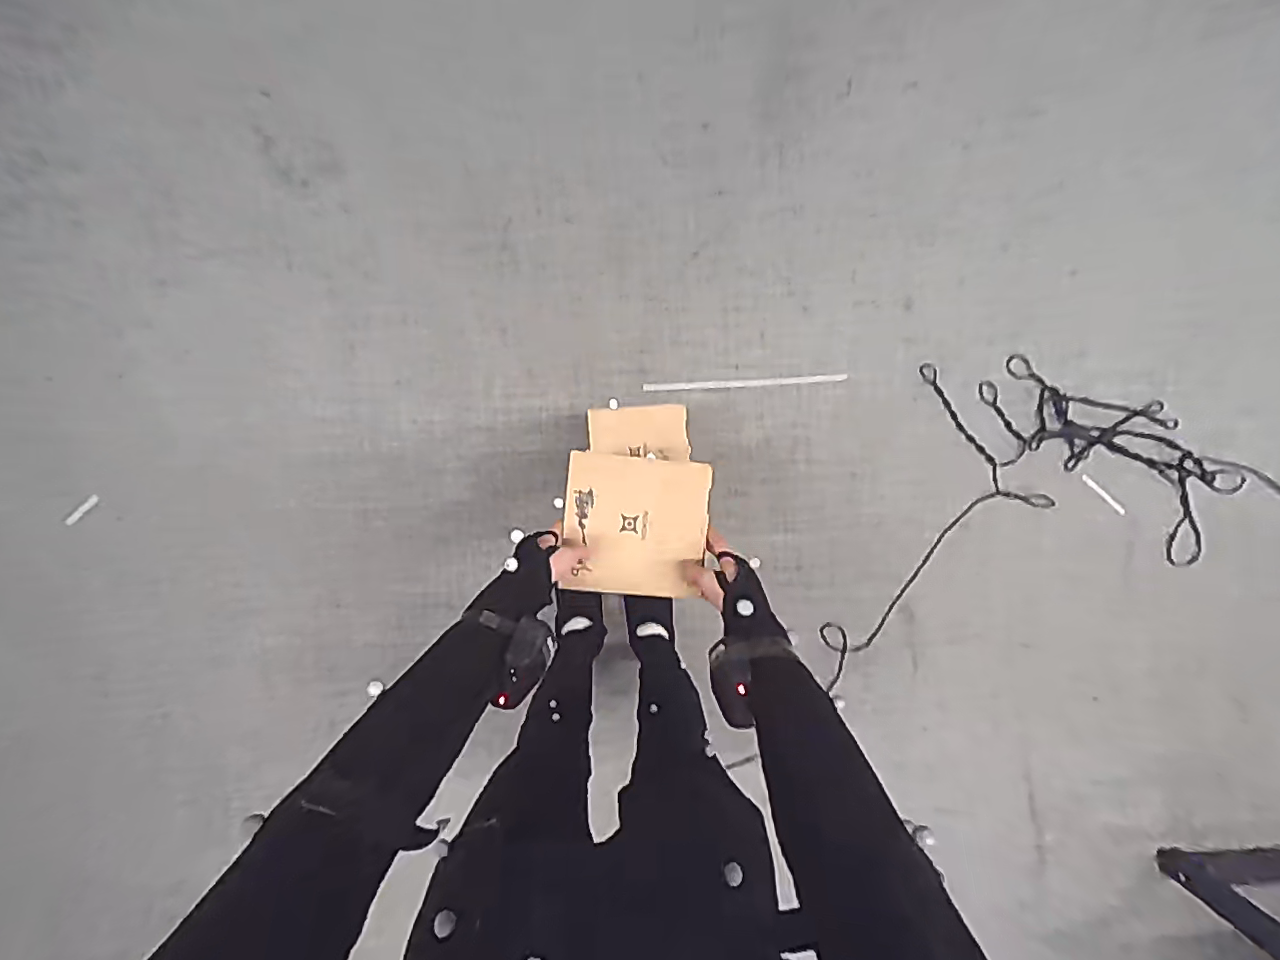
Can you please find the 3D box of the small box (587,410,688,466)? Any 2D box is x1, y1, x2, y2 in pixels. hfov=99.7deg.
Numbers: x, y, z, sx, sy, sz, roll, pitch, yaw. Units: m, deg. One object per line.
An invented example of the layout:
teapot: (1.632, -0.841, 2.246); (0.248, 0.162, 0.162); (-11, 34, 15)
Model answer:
small box: (-0.002, -0.041, 1.034); (0.179, 0.176, 0.168); (-4, 93, -1)

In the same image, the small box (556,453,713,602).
small box: (-0.013, 0.061, 0.722); (0.179, 0.176, 0.168); (6, 86, -5)
